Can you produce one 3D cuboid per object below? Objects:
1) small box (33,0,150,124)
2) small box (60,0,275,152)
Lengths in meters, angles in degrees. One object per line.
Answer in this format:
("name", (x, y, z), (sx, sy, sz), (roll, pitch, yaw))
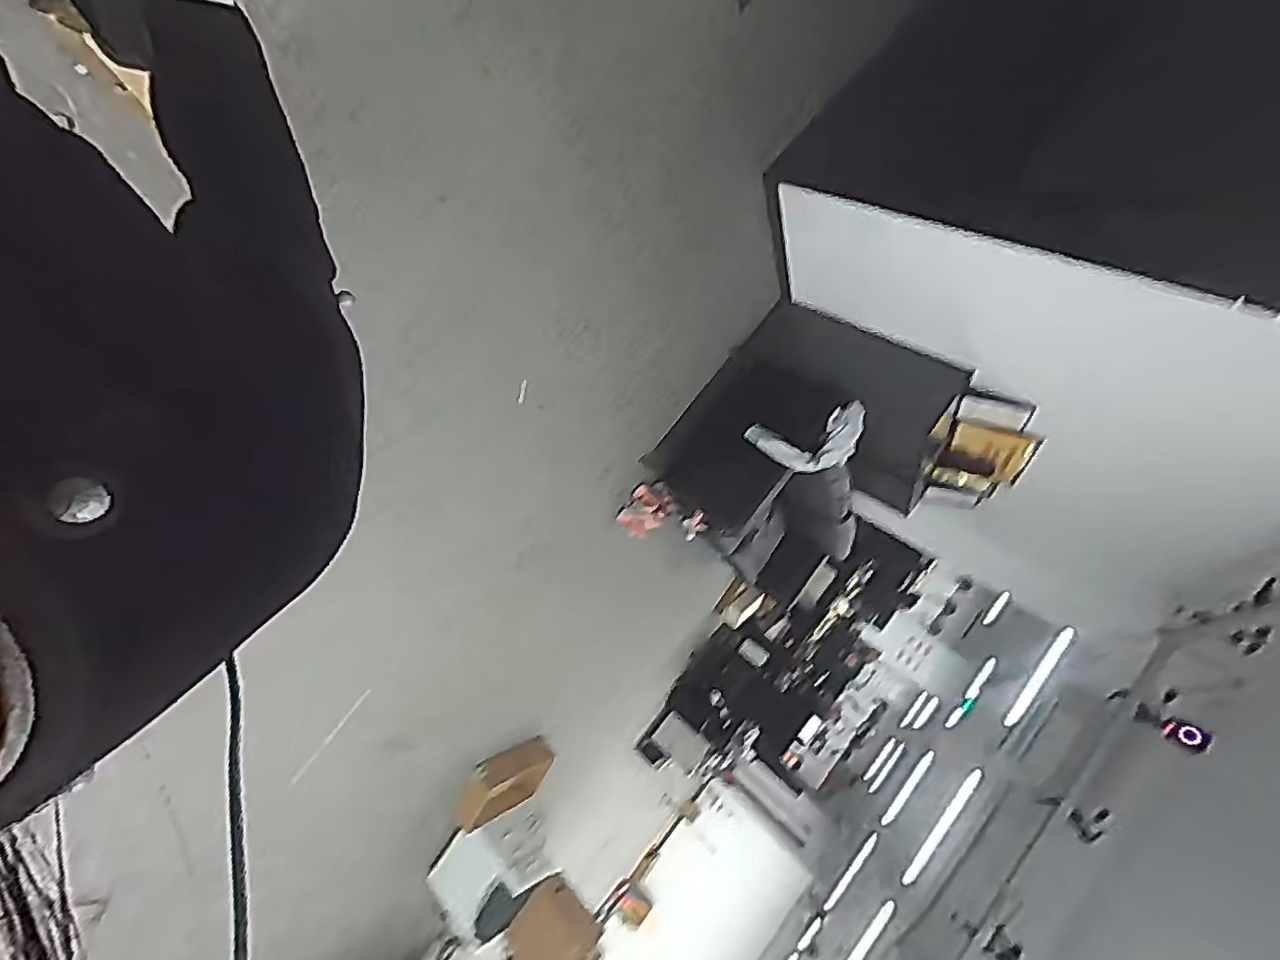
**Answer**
("small box", (-0.851, -0.744, 0.910), (0.179, 0.176, 0.168), (-46, 149, -15))
("small box", (-0.732, -0.652, 0.842), (0.168, 0.176, 0.179), (-46, 148, -15))
